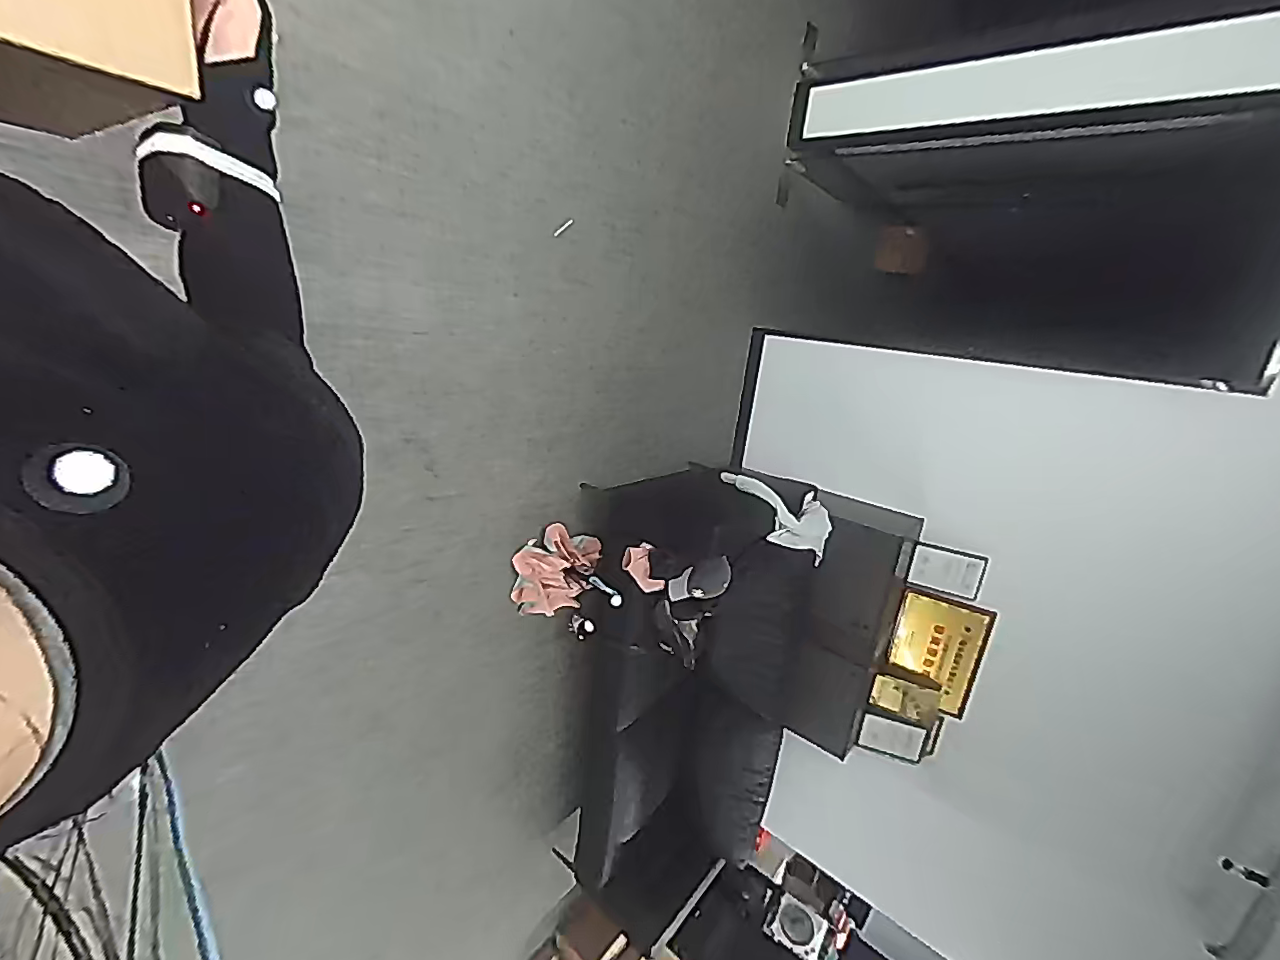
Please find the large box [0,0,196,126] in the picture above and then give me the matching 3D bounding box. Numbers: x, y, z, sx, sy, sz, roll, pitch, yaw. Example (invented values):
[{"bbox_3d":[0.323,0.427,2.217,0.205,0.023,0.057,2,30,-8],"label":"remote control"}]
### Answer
[{"bbox_3d":[-0.568,-0.437,0.298,0.408,0.320,0.320,-20,119,-54],"label":"large box"}]
